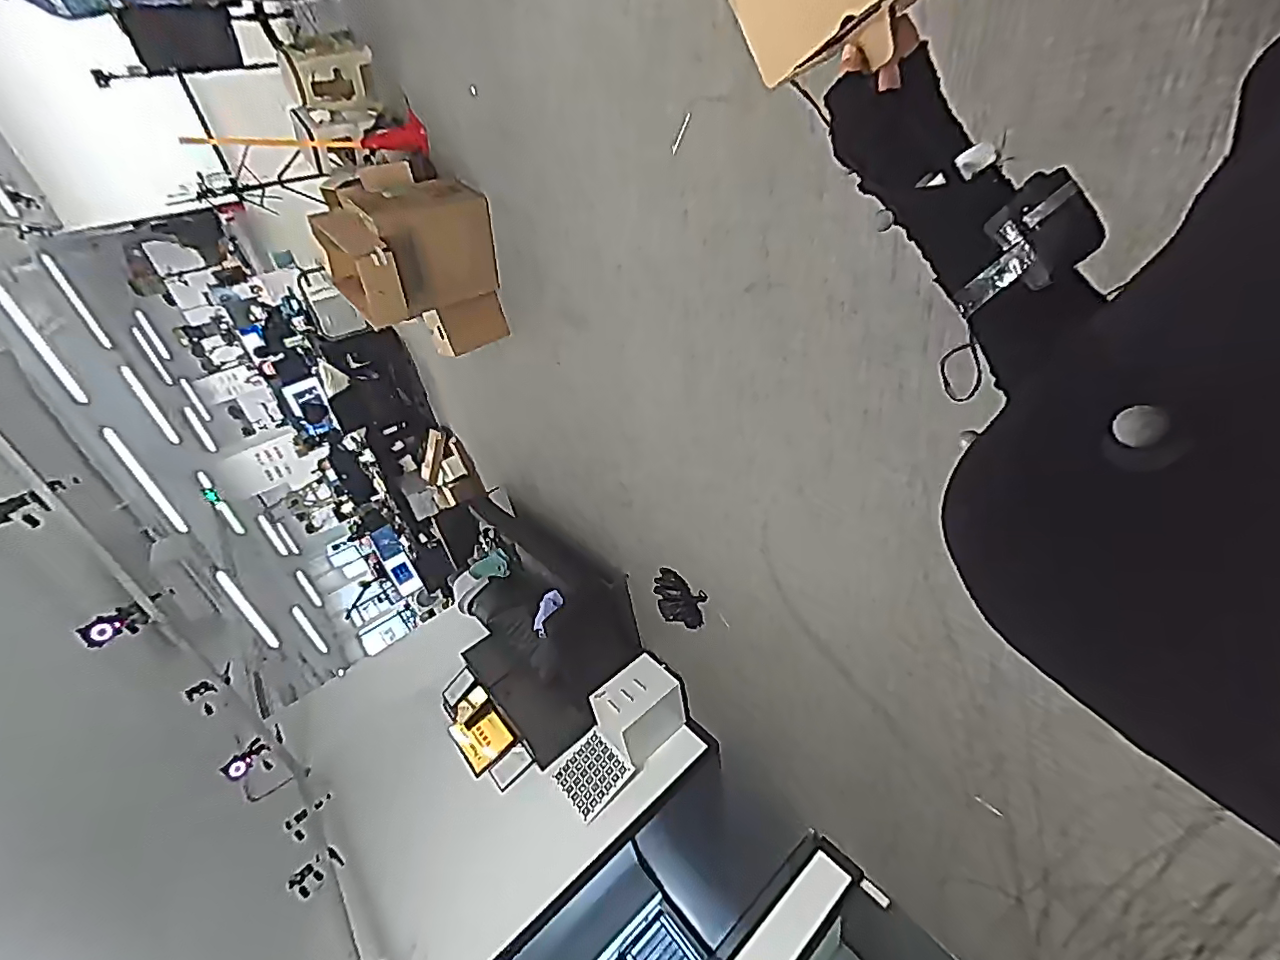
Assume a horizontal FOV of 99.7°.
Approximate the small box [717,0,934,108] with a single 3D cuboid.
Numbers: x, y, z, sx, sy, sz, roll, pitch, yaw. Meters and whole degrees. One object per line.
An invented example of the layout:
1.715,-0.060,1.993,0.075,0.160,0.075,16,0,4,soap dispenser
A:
0.163,-0.438,0.407,0.168,0.176,0.179,0,127,58,small box
